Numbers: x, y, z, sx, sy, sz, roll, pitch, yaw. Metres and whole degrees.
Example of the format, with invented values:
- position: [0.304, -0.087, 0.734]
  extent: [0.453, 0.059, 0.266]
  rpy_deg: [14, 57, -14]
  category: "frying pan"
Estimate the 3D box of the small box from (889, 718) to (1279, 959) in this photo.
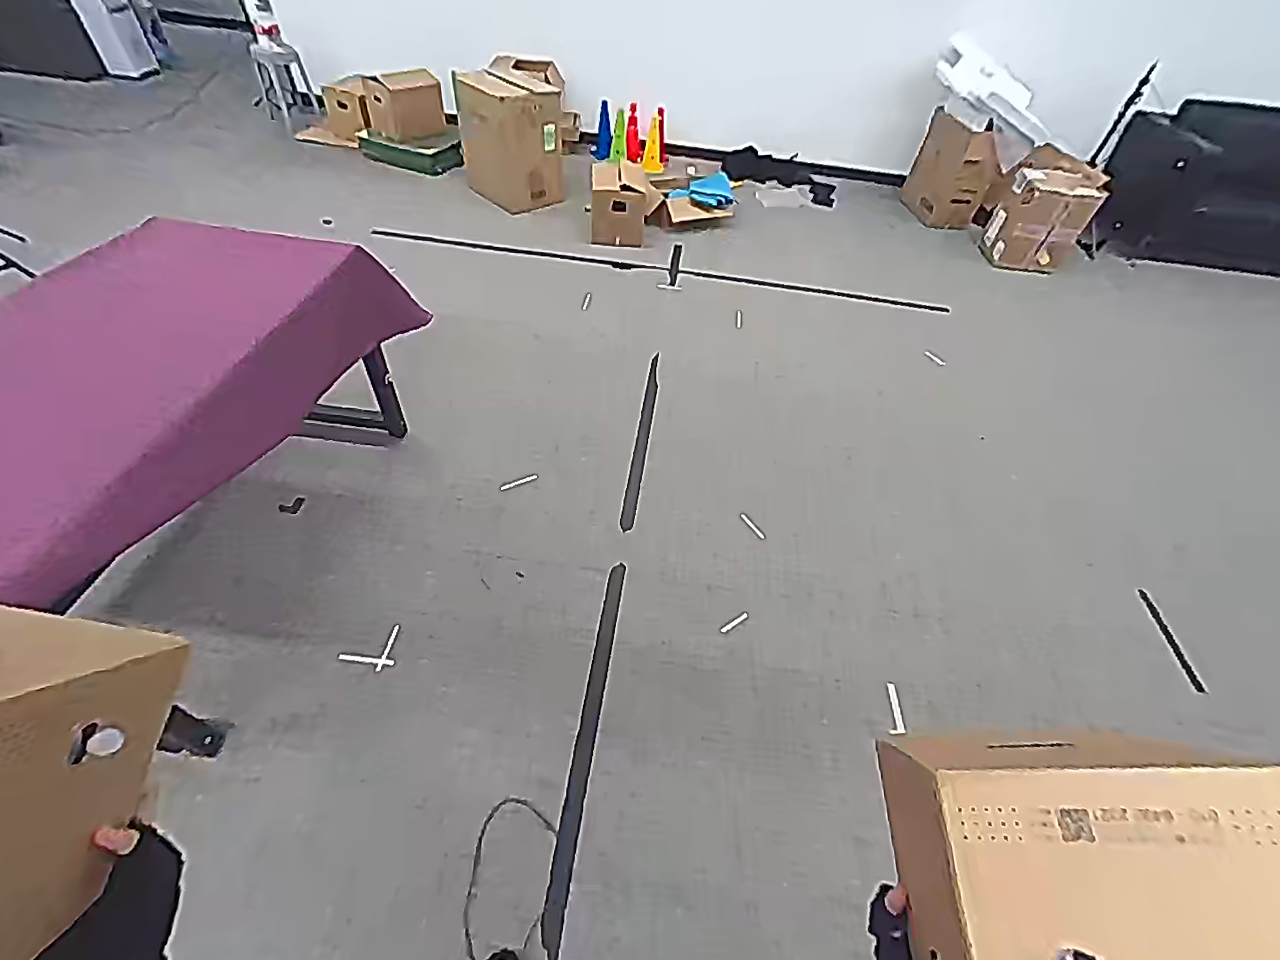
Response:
- position: [0.261, 0.242, 0.320]
  extent: [0.168, 0.179, 0.176]
  rpy_deg: [-6, 70, 11]
  category: "small box"

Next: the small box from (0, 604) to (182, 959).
- position: [-0.378, 0.151, 0.255]
  extent: [0.168, 0.179, 0.176]
  rpy_deg: [16, 78, -12]
  category: "small box"
